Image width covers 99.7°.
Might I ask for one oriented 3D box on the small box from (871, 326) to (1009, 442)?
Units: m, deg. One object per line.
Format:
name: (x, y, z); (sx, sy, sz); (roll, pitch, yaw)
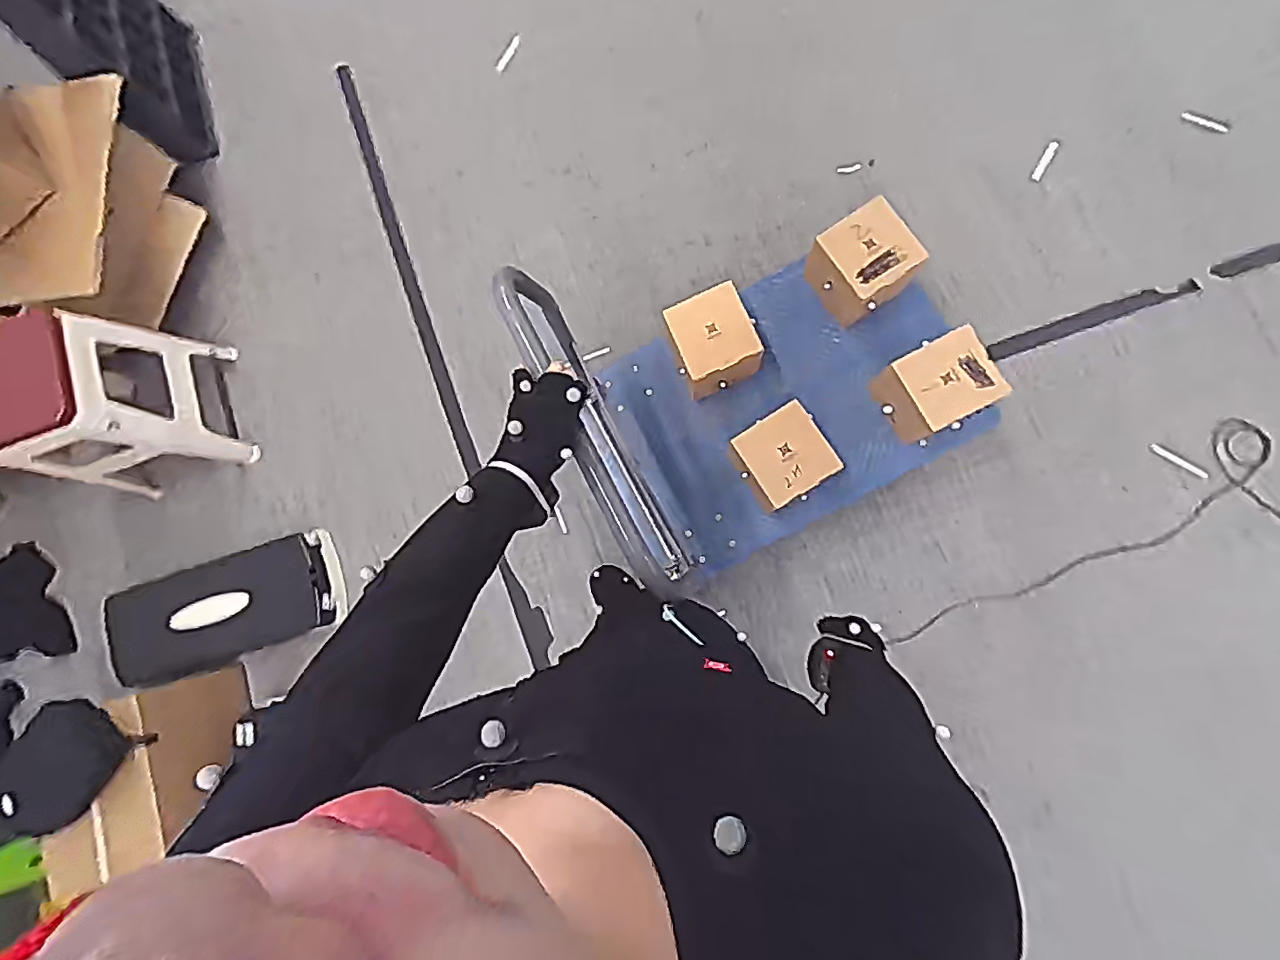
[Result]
small box: (0.639, -0.201, 1.175); (0.179, 0.176, 0.168); (-28, 82, 5)

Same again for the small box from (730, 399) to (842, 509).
small box: (0.312, -0.048, 1.201); (0.168, 0.176, 0.179); (-33, 81, 3)

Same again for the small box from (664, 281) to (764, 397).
small box: (0.166, -0.316, 1.246); (0.168, 0.176, 0.179); (-25, 83, 4)
